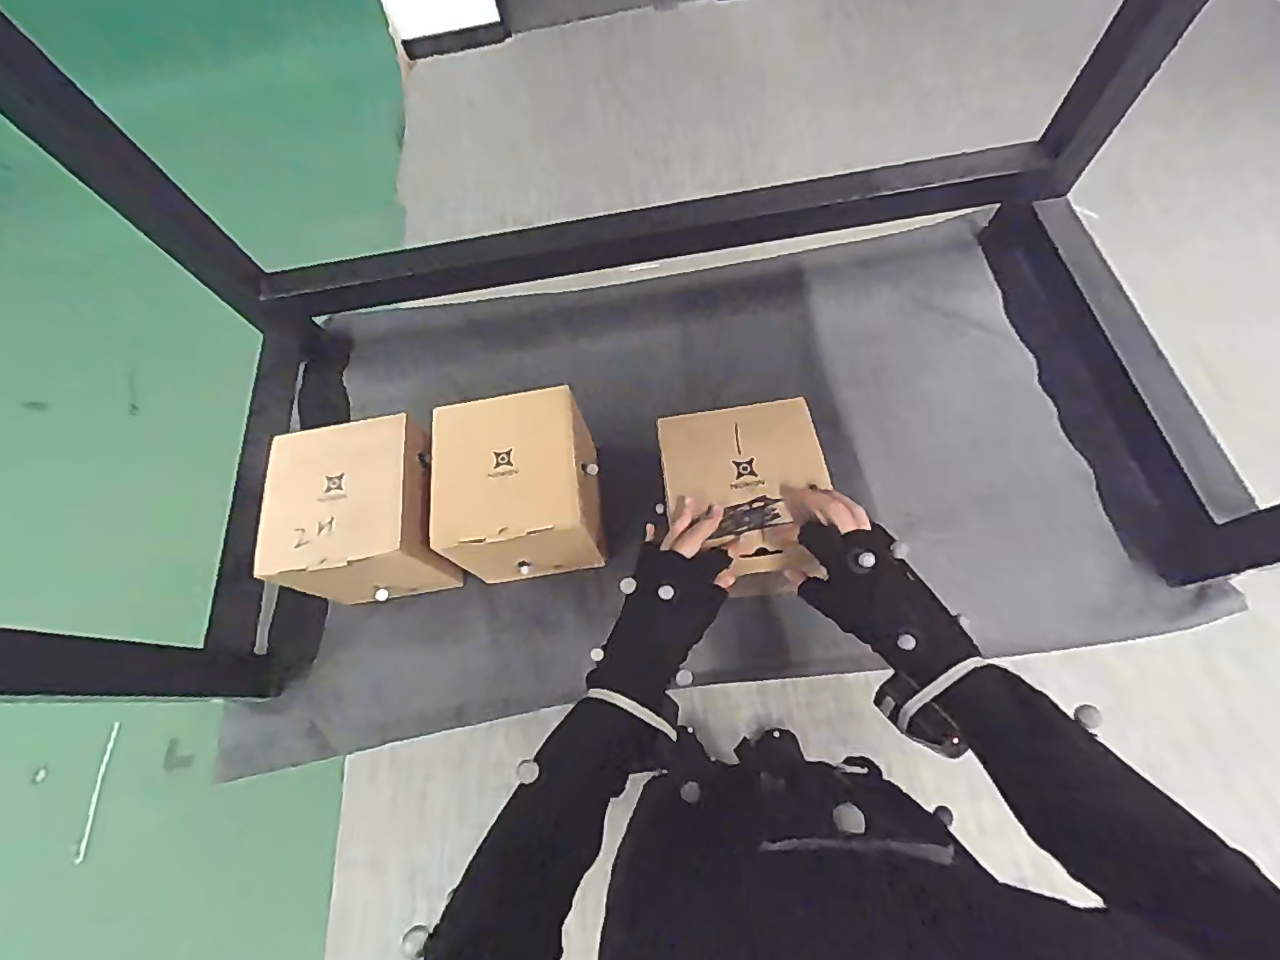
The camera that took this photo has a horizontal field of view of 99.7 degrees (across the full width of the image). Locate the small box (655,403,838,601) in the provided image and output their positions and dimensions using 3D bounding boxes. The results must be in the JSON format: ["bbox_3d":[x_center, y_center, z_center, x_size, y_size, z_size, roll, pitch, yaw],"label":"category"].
[{"bbox_3d":[0.114,0.037,0.629,0.168,0.176,0.179,-8,64,4],"label":"small box"}]

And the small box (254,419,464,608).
[{"bbox_3d":[-0.333,0.049,0.680,0.168,0.176,0.179,-10,66,3],"label":"small box"}]
